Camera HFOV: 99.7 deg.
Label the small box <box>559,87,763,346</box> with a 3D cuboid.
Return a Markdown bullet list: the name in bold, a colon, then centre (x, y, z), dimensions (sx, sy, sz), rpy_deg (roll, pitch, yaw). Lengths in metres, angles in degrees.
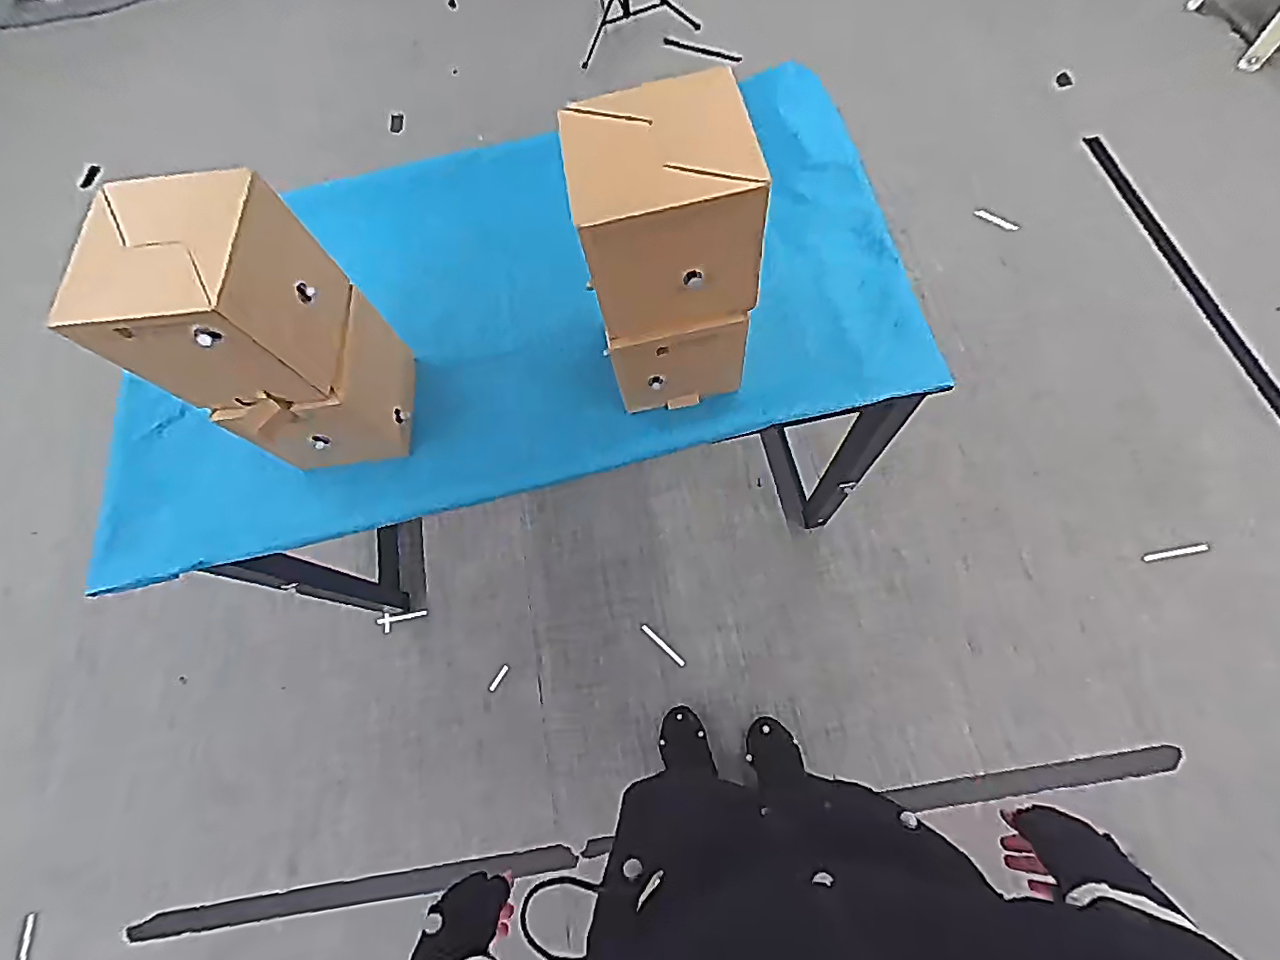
- **small box**: centre (0.027, -0.277, 0.581), dimensions (0.179, 0.176, 0.168), rpy_deg (-12, 67, 4)

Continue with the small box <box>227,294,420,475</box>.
- **small box**: centre (-0.423, -0.126, 0.745), dimensions (0.168, 0.176, 0.179), rpy_deg (-7, 69, 2)

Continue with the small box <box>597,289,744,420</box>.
- **small box**: centre (0.039, -0.211, 0.731), dimensions (0.168, 0.176, 0.179), rpy_deg (-13, 68, 1)

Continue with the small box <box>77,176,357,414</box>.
- **small box**: centre (-0.448, -0.193, 0.596), dimensions (0.168, 0.176, 0.179), rpy_deg (-4, 71, 4)
